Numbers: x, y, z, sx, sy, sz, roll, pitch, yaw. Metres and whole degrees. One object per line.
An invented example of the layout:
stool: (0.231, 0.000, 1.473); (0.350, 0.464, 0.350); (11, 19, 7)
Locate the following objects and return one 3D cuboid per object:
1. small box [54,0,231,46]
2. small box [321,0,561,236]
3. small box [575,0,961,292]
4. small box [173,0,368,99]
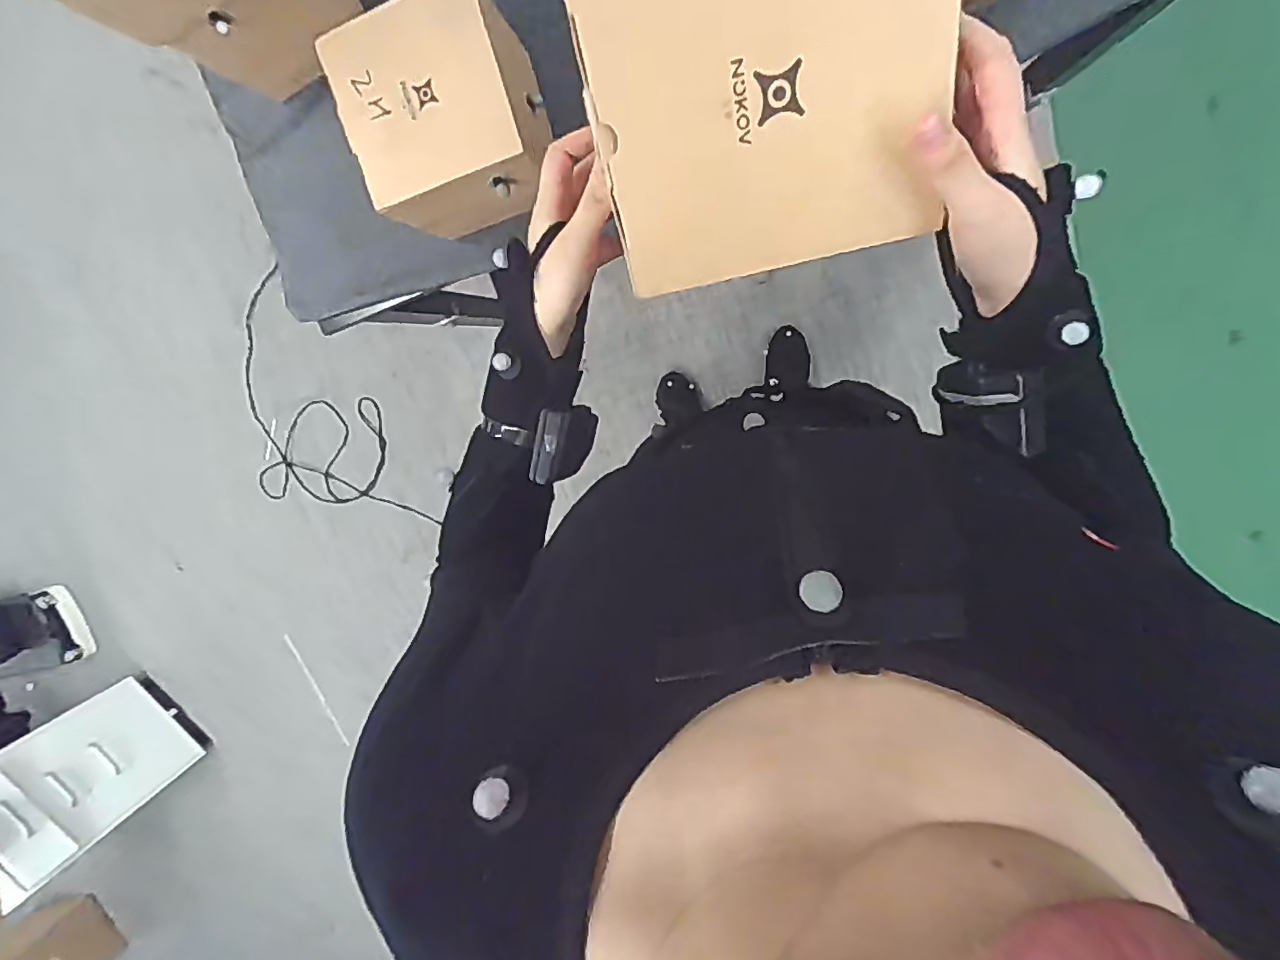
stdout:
small box: (-0.463, -0.522, 0.449); (0.179, 0.176, 0.168); (-19, 102, 14)
small box: (-0.202, -0.396, 0.611); (0.179, 0.176, 0.168); (-14, 102, 13)
small box: (0.067, -0.236, 0.333); (0.179, 0.176, 0.168); (-9, 123, 8)
small box: (-0.445, -0.581, 0.603); (0.168, 0.176, 0.179); (-20, 101, 14)
